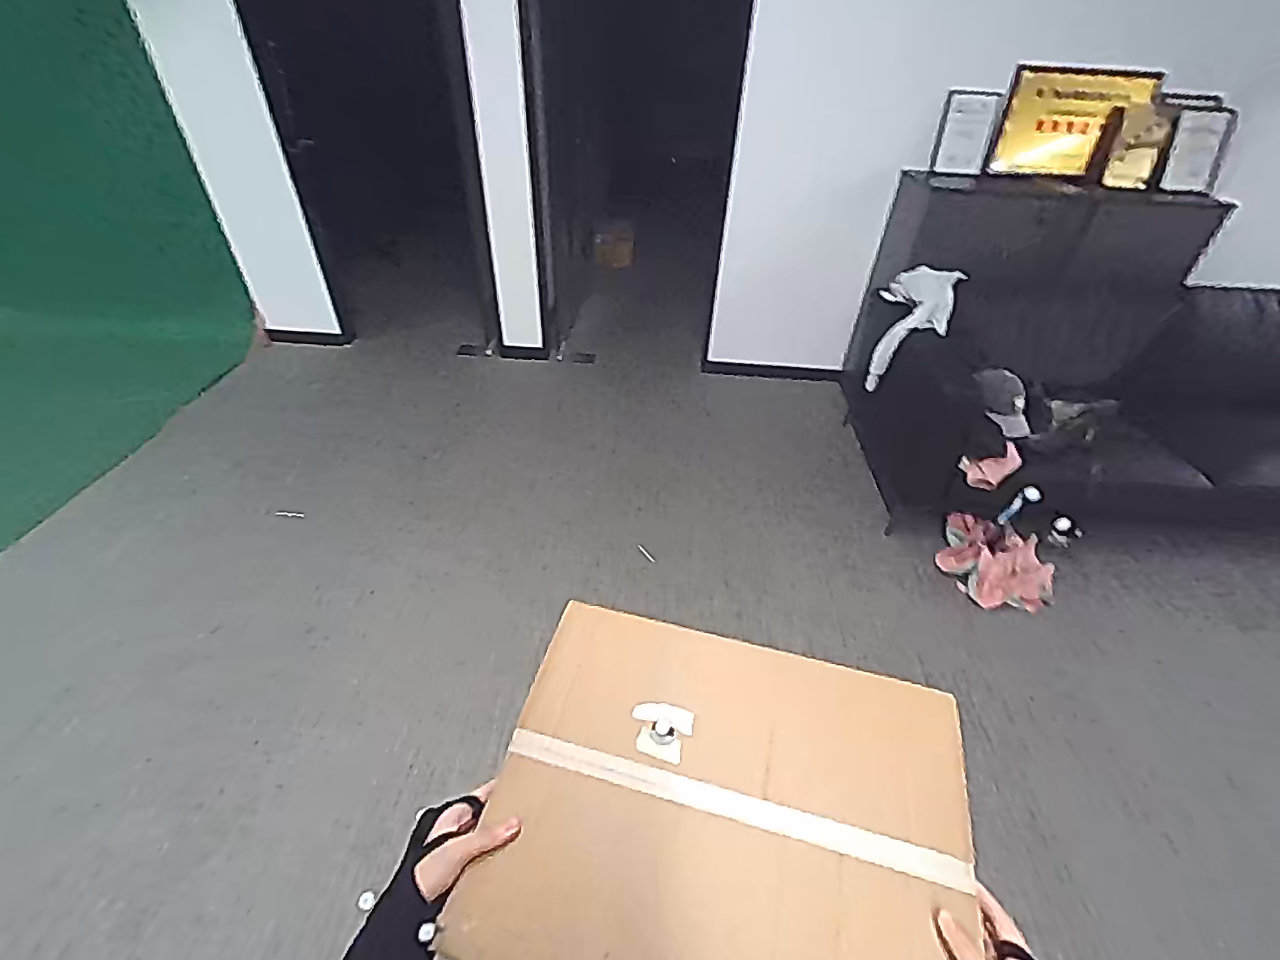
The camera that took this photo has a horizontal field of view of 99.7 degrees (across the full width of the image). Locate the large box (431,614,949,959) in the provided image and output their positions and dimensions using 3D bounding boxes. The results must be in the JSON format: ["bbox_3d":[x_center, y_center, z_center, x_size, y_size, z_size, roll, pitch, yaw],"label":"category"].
[{"bbox_3d":[0.068,0.393,0.599,0.408,0.320,0.320,10,48,12],"label":"large box"}]
